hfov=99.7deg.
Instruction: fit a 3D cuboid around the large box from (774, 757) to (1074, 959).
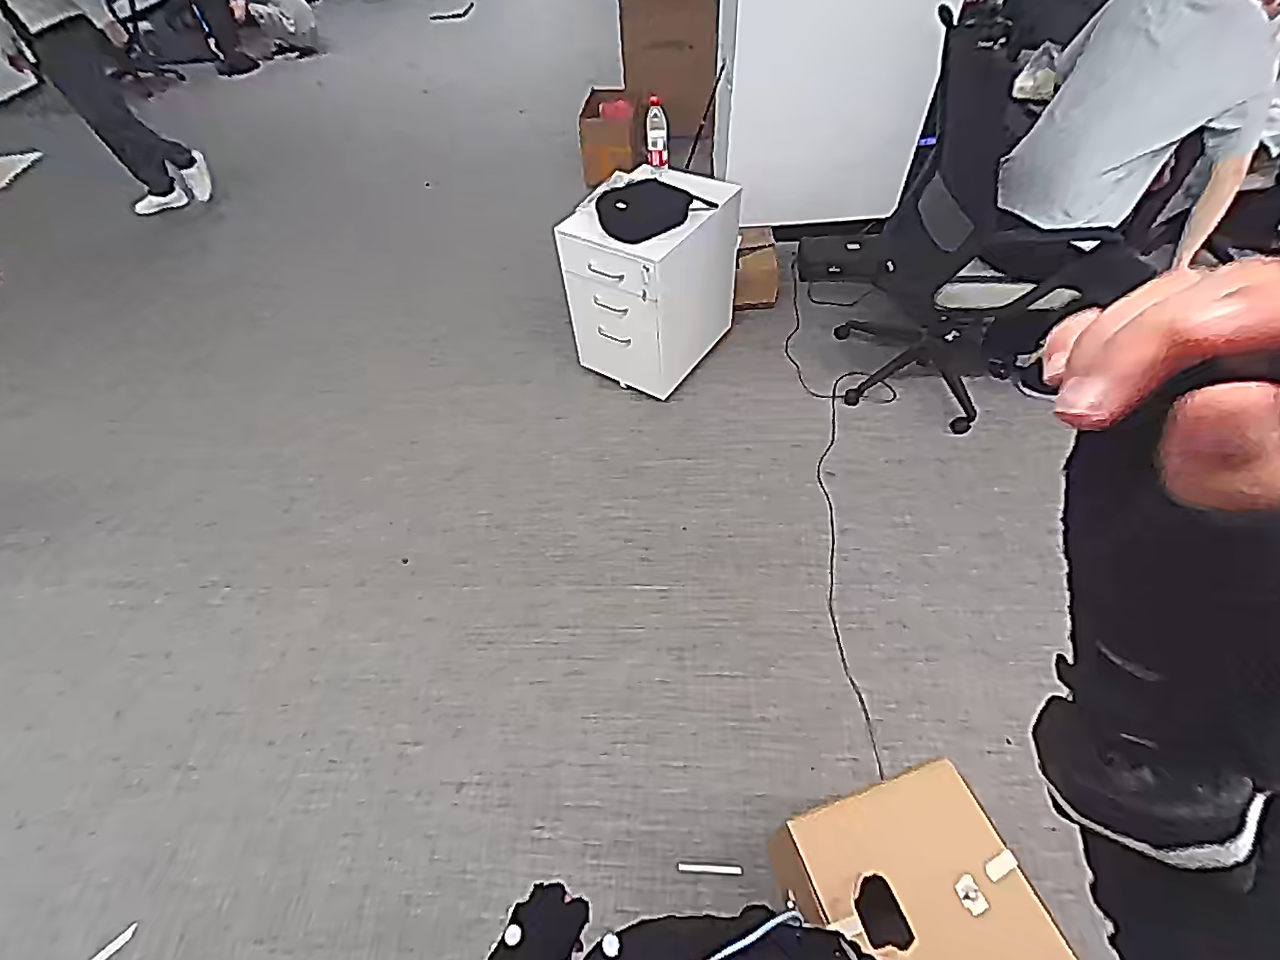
[{"bbox_3d":[0.465,0.760,0.989,0.320,0.408,0.320,-18,52,-5],"label":"large box"}]
